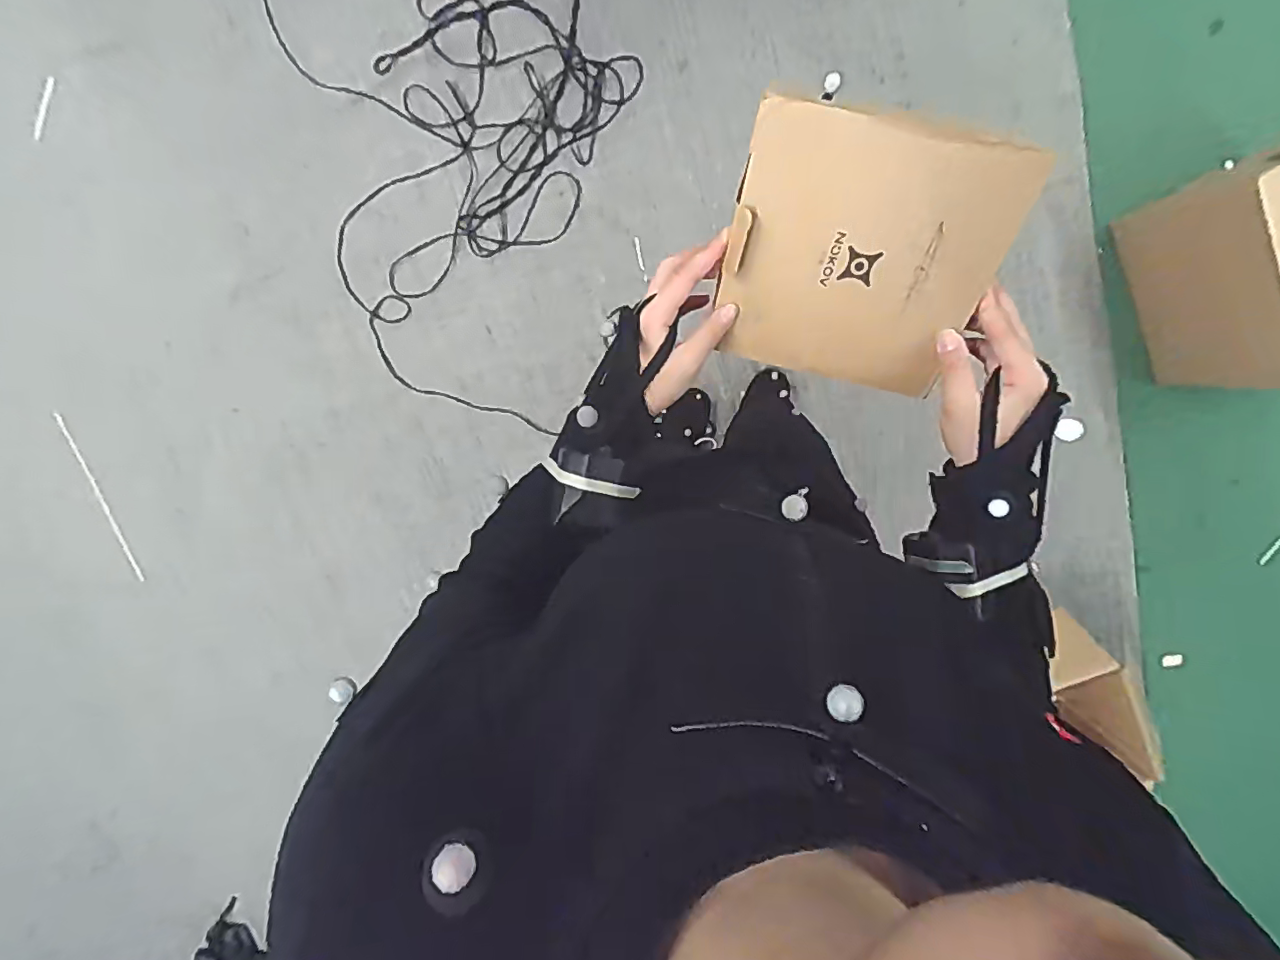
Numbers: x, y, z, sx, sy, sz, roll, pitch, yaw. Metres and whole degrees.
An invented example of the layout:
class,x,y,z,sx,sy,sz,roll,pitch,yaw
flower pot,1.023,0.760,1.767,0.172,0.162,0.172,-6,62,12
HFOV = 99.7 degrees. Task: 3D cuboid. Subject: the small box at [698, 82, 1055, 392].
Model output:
class,x,y,z,sx,sy,sz,roll,pitch,yaw
small box,0.154,-0.194,0.420,0.179,0.176,0.168,13,129,4
